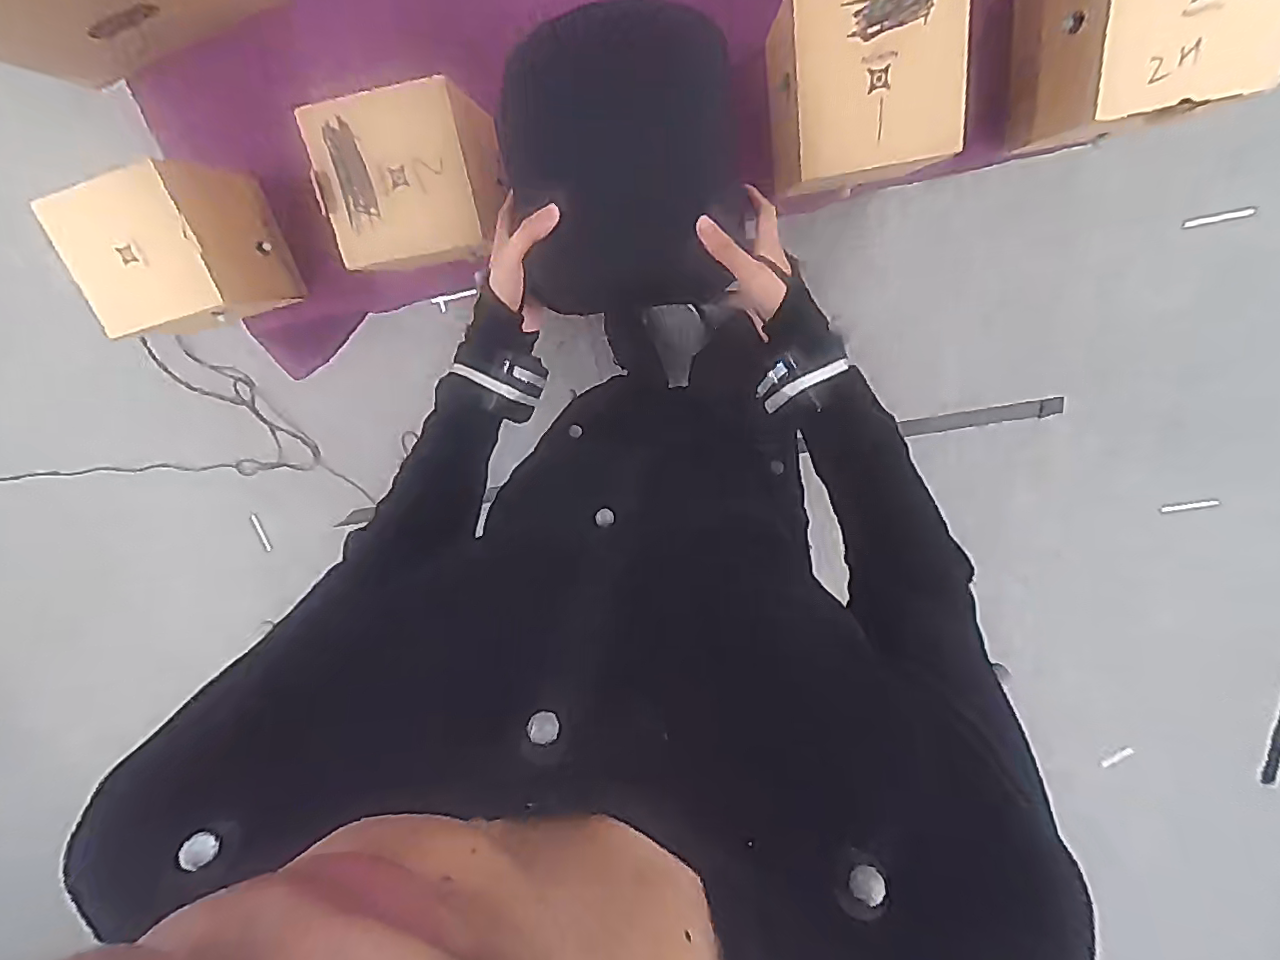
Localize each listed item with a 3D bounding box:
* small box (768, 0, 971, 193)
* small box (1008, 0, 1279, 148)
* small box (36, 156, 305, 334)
[{"bbox_3d":[0.242,-0.440,0.607,0.168,0.176,0.179,-7,112,7],"label":"small box"},{"bbox_3d":[0.522,-0.477,0.569,0.168,0.176,0.179,-6,111,8],"label":"small box"},{"bbox_3d":[-0.604,-0.303,0.724,0.179,0.176,0.168,-13,110,8],"label":"small box"}]
